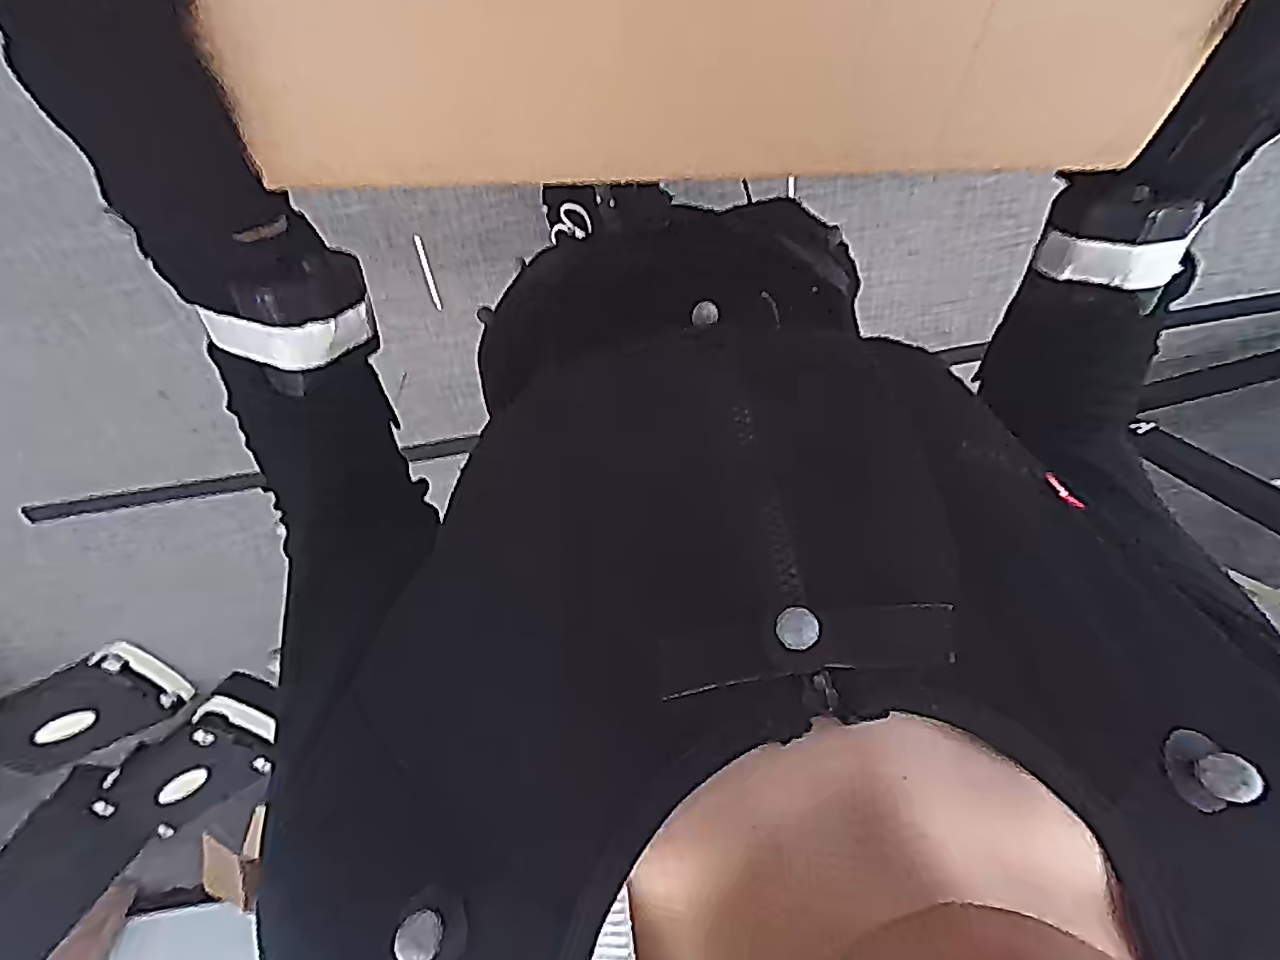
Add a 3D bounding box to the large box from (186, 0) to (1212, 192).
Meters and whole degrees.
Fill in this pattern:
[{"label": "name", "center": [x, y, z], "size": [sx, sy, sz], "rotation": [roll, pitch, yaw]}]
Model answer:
[{"label": "large box", "center": [0.020, -0.356, 0.227], "size": [0.408, 0.320, 0.320], "rotation": [-3, 144, -2]}]
